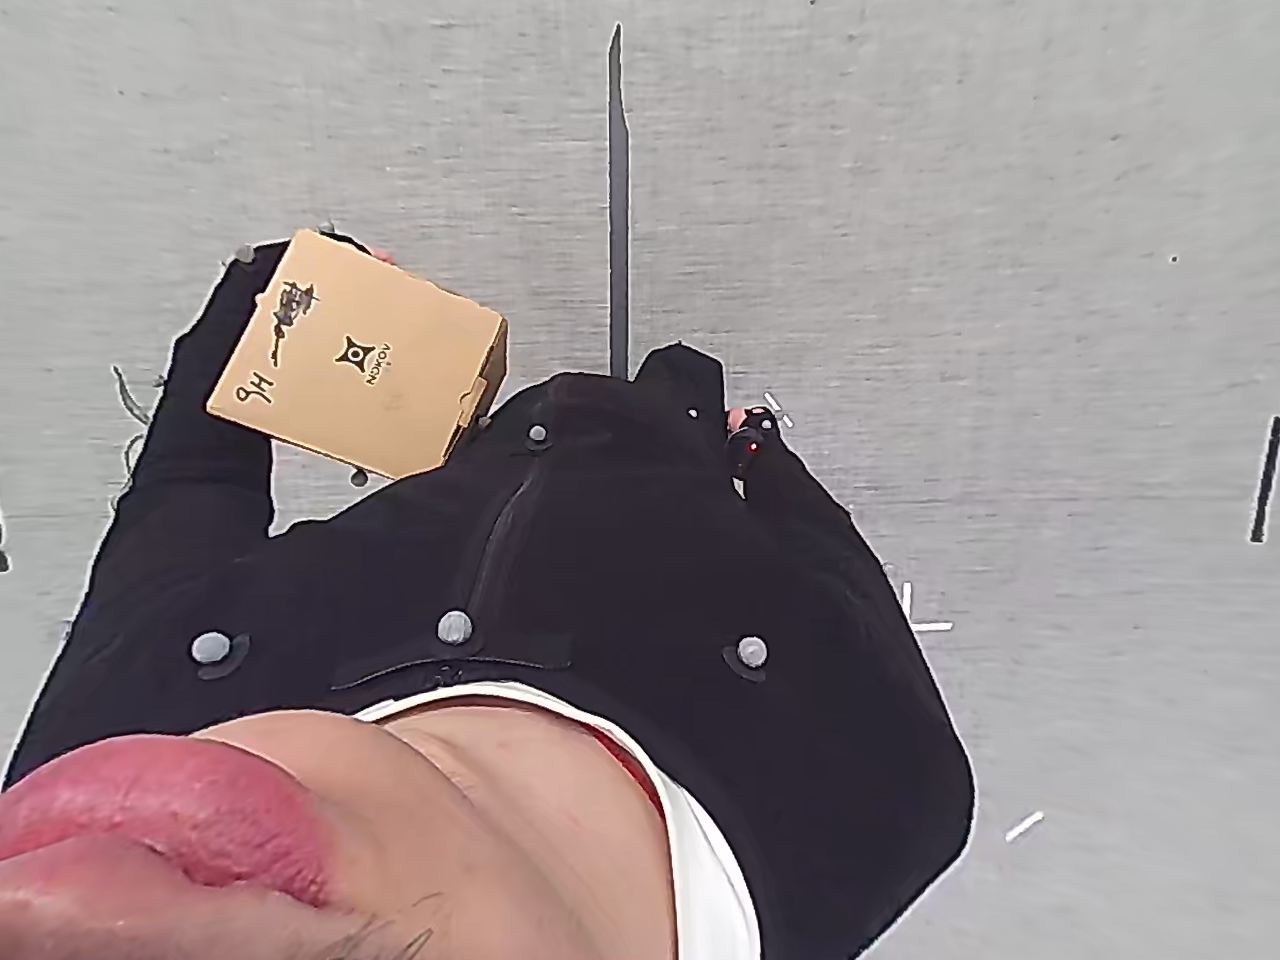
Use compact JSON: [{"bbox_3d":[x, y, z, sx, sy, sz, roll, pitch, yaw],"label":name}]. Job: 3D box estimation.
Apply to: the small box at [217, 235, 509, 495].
[{"bbox_3d":[-0.241,-0.090,0.522,0.179,0.176,0.168,22,80,-12],"label":"small box"}]
